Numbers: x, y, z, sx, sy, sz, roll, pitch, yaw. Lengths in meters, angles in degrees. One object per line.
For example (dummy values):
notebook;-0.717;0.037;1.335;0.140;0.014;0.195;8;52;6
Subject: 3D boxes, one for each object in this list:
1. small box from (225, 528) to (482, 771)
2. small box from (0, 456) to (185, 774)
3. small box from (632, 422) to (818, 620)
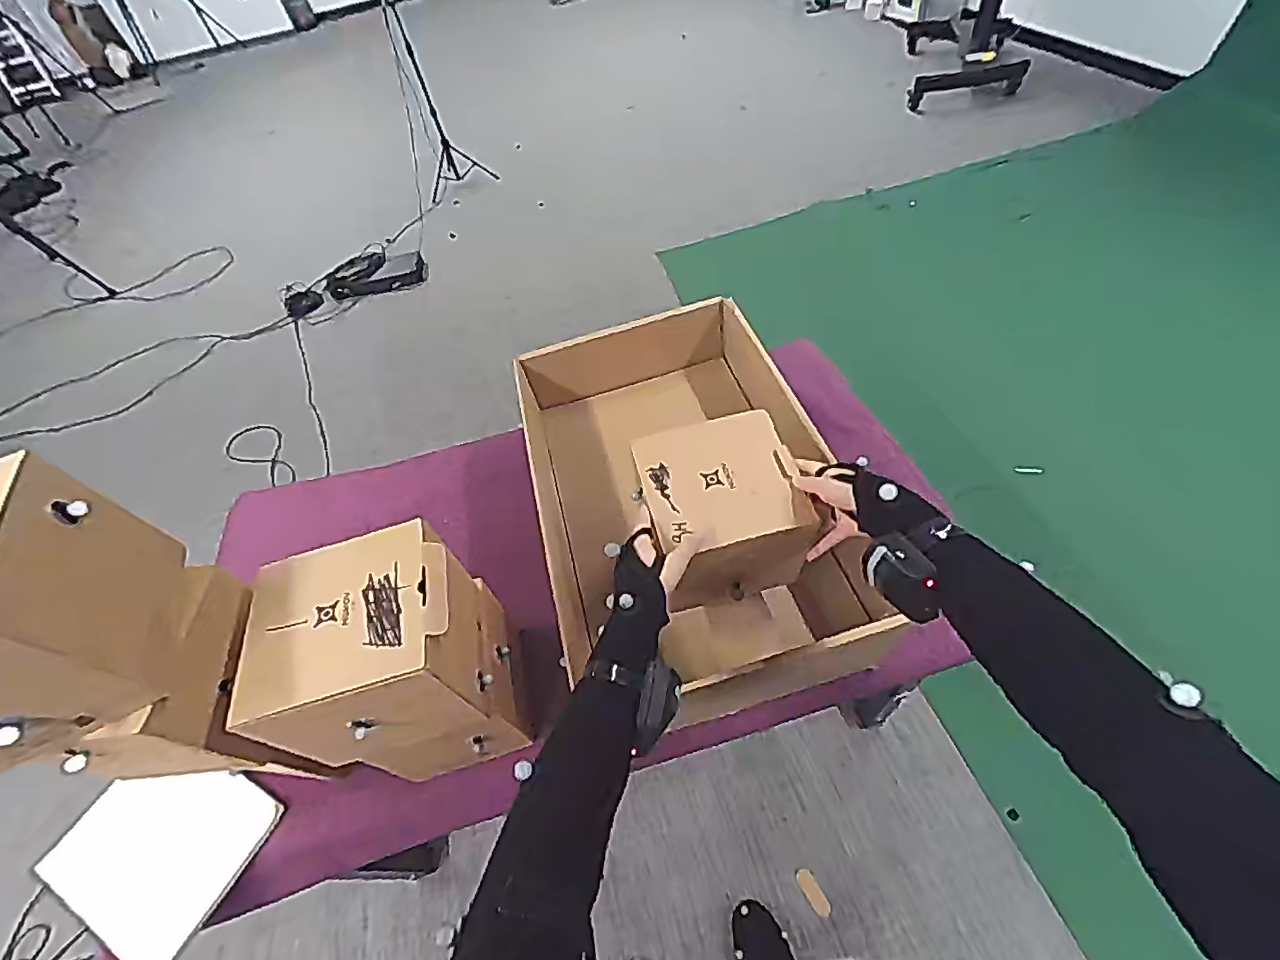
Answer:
small box;-0.276;0.182;0.570;0.179;0.176;0.168;-16;50;-4
small box;-0.533;0.118;0.454;0.168;0.176;0.179;-25;53;-8
small box;0.093;0.056;0.678;0.179;0.176;0.168;-13;56;-5
